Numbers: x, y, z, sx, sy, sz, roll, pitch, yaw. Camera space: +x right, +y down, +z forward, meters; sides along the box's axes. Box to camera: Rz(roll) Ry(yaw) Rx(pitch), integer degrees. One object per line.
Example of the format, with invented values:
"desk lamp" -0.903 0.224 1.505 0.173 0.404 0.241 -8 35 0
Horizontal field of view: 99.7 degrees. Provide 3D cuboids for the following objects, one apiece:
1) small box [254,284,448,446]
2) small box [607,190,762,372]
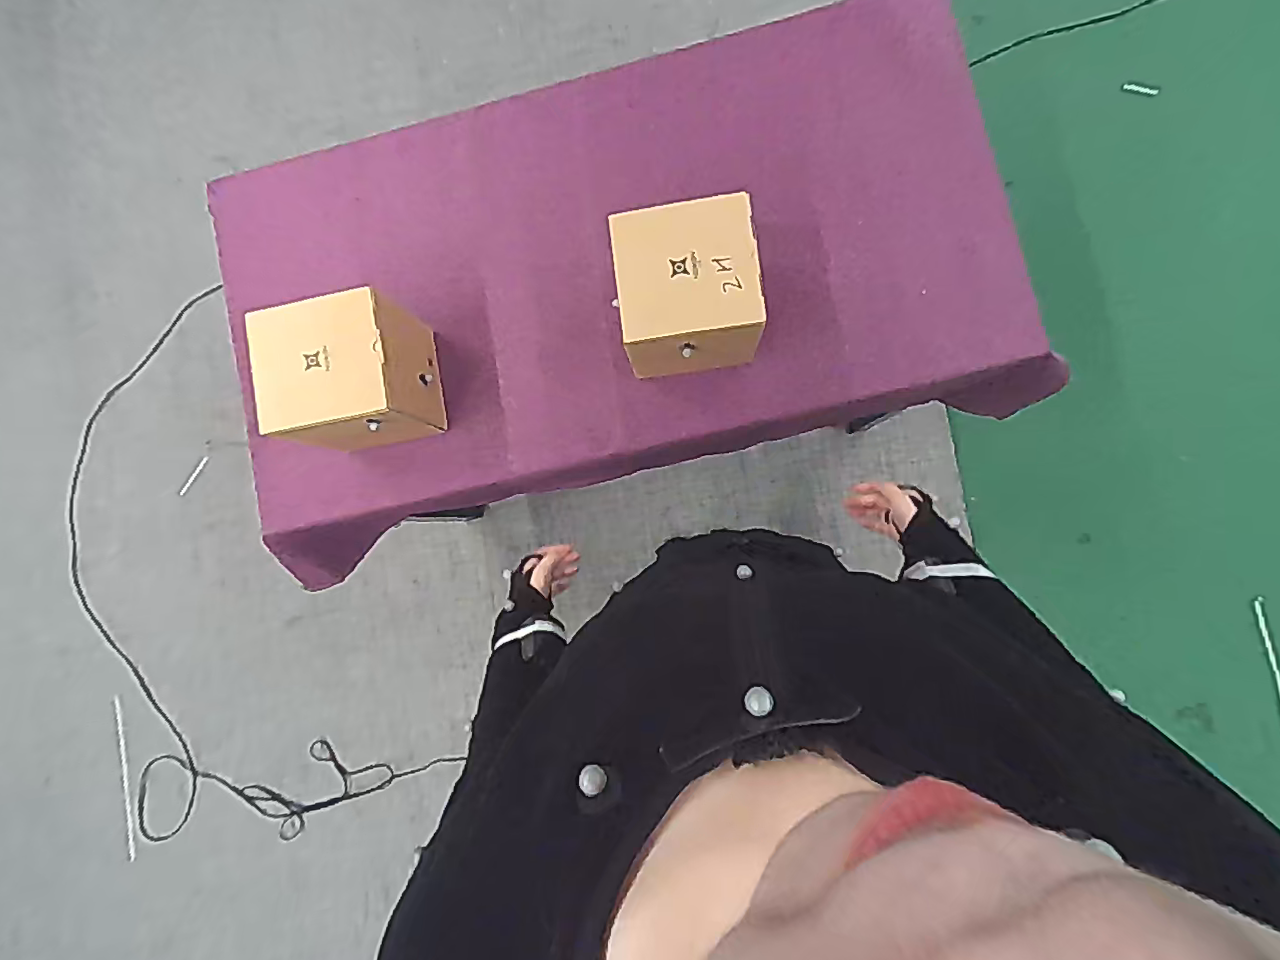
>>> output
"small box" -0.404 -0.152 0.776 0.179 0.176 0.168 -11 85 4
"small box" 0.061 -0.254 0.734 0.179 0.176 0.168 -7 86 5
